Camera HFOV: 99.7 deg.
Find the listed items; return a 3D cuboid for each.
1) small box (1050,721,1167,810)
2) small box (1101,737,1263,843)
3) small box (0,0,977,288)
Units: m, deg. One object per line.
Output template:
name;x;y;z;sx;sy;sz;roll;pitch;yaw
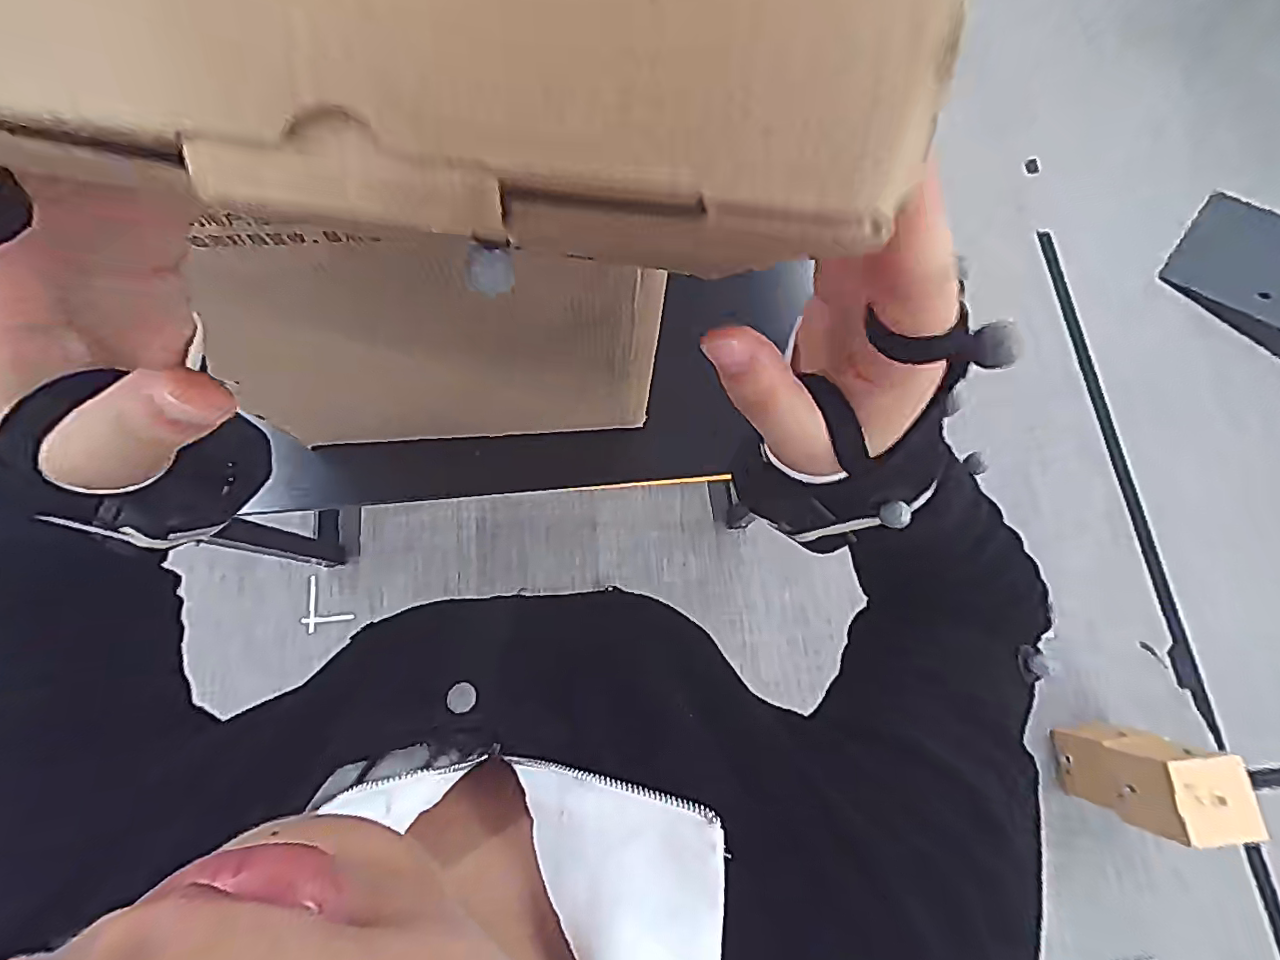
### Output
small box;1.216;0.727;1.389;0.179;0.176;0.168;-5;75;-3
small box;1.216;0.693;1.227;0.179;0.176;0.168;-4;75;-4
small box;-0.030;-0.148;0.124;0.168;0.176;0.179;6;111;-3
